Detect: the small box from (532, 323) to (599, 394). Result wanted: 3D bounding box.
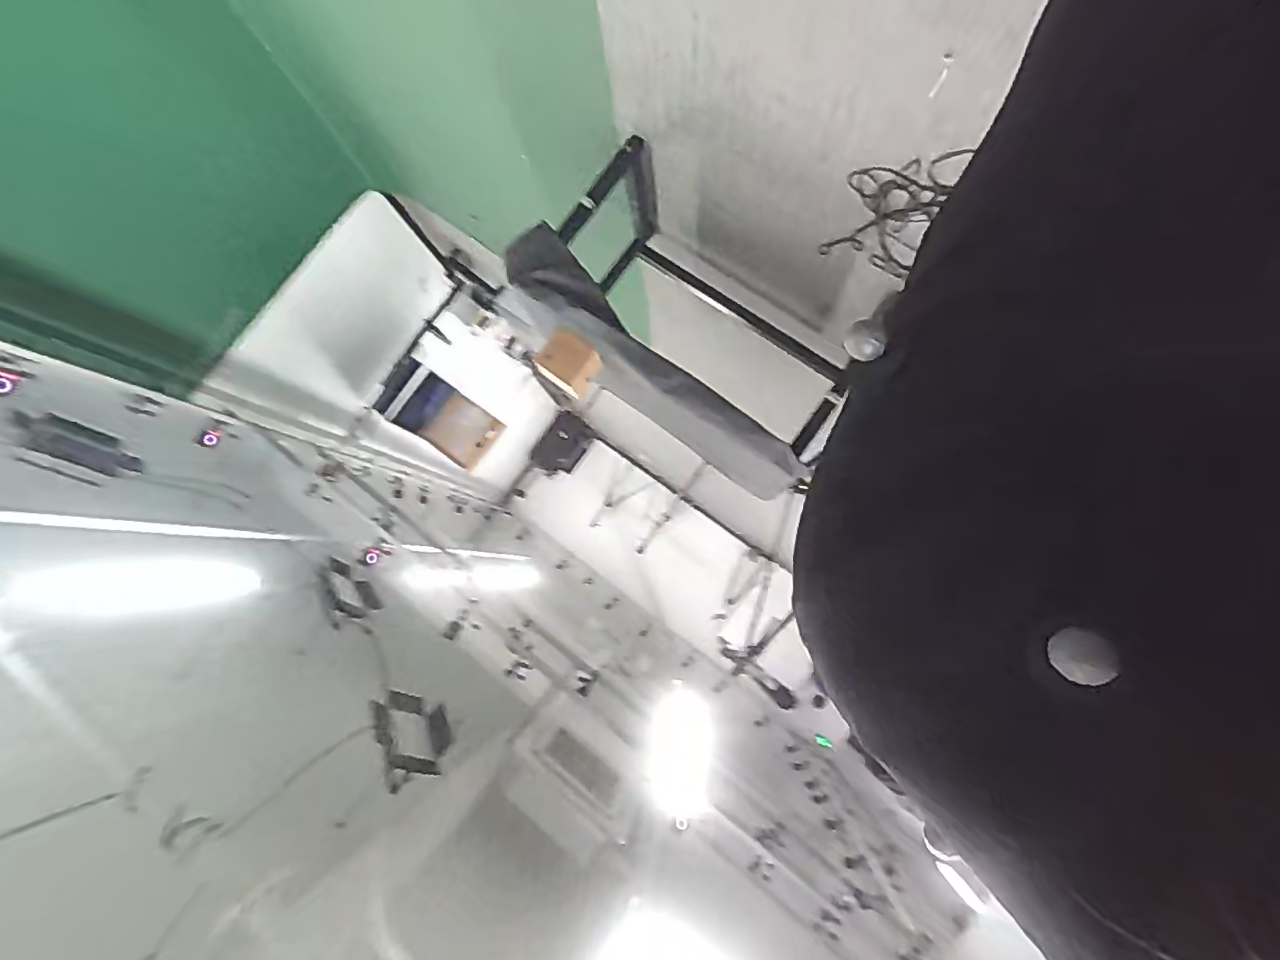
[{"bbox_3d":[-0.269,-0.454,2.018,0.179,0.176,0.168,36,176,7],"label":"small box"}]
